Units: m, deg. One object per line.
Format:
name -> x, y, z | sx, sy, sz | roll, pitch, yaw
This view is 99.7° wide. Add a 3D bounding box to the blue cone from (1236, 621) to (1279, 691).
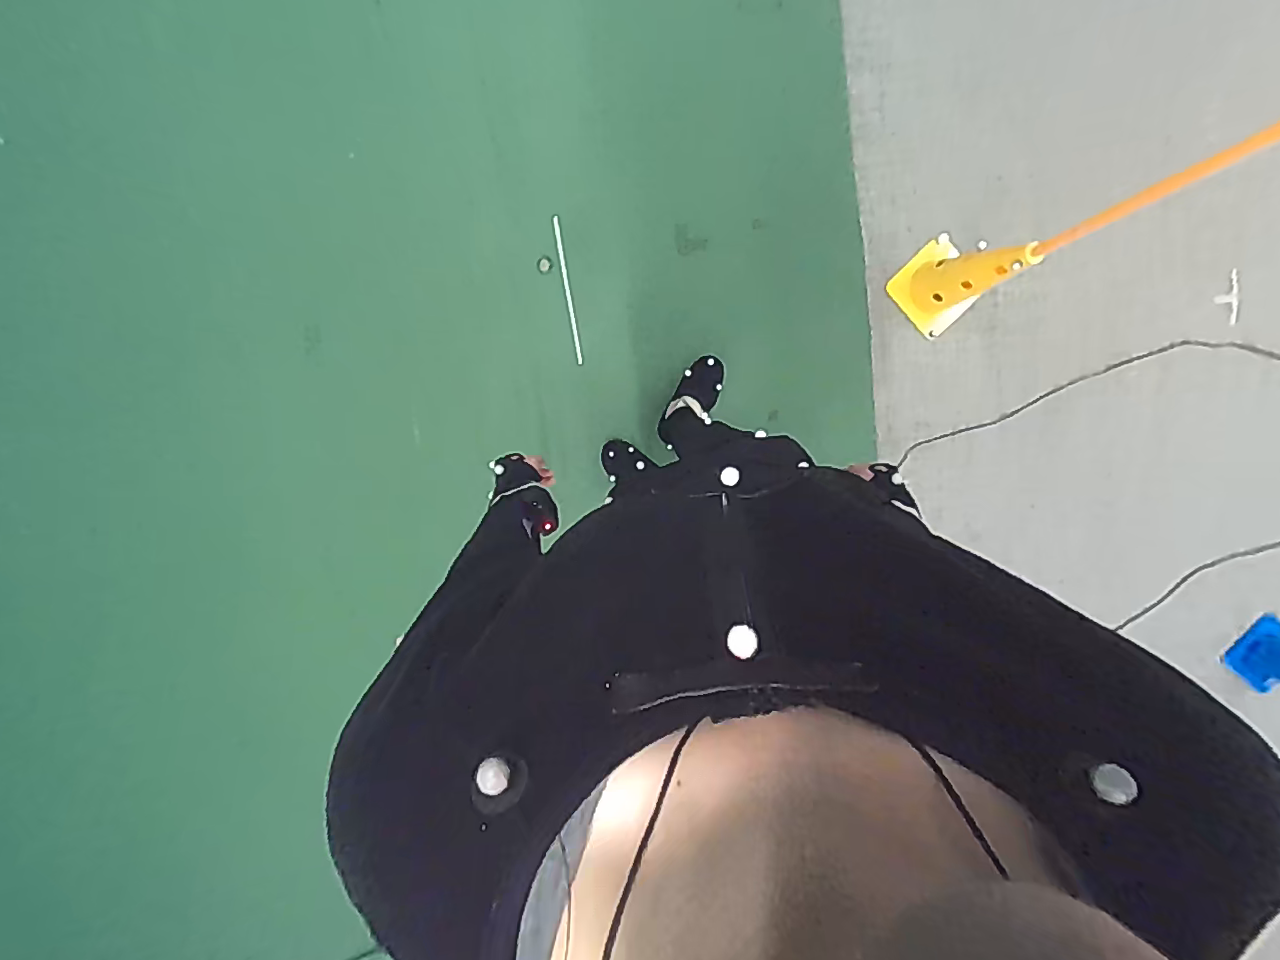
blue cone -> 1.900, 0.550, 1.444 | 0.193, 0.380, 0.192 | 36, 96, -8
